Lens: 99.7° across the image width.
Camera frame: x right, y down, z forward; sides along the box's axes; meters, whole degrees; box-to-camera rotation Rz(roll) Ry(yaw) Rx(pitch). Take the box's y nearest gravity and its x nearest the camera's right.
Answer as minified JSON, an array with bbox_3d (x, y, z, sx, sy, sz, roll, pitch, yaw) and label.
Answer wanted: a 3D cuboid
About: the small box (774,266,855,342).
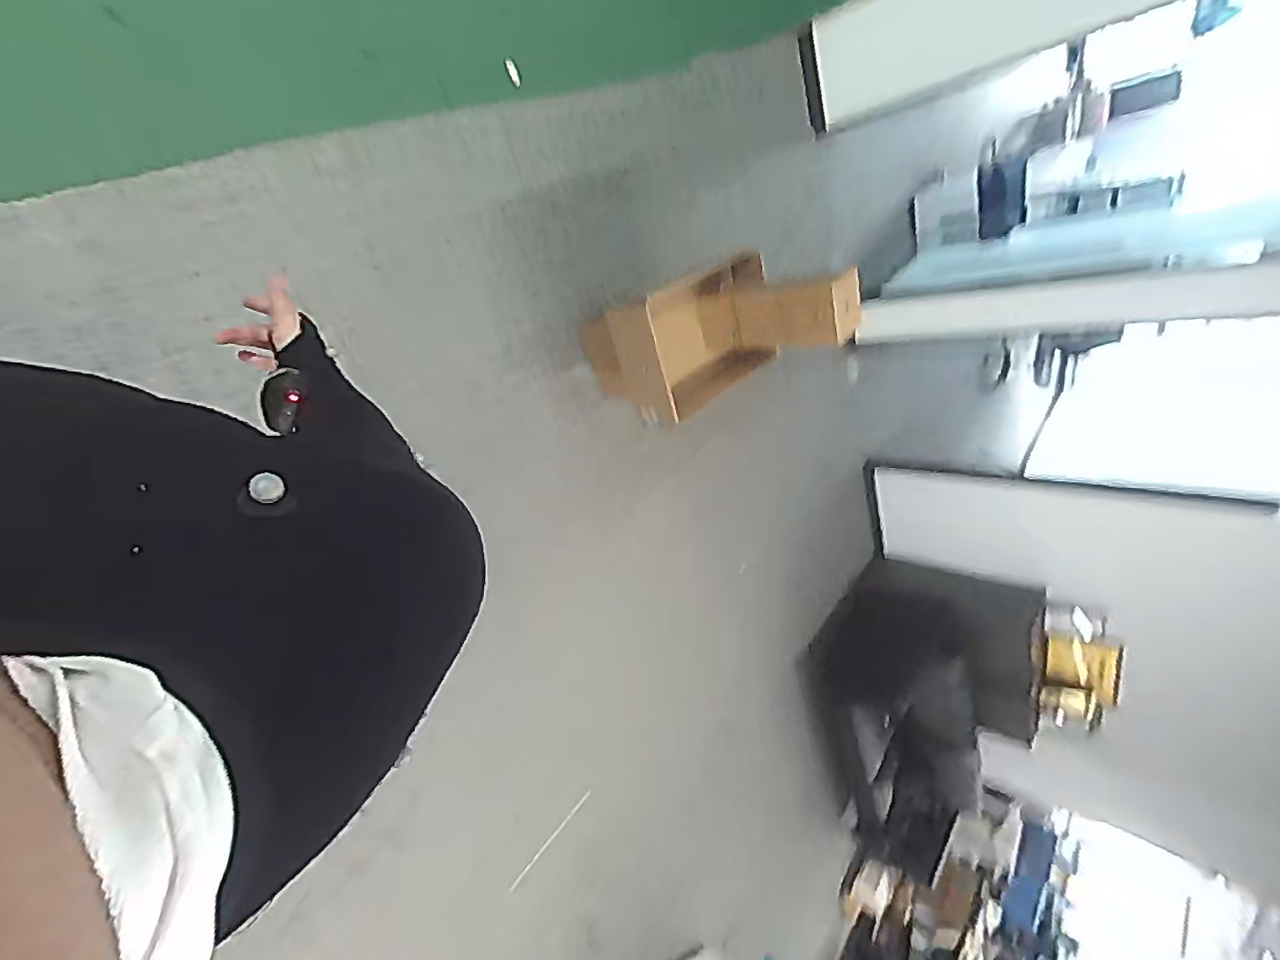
[{"bbox_3d":[0.528,-0.530,1.634,0.168,0.176,0.179,-38,123,-34],"label":"small box"}]
